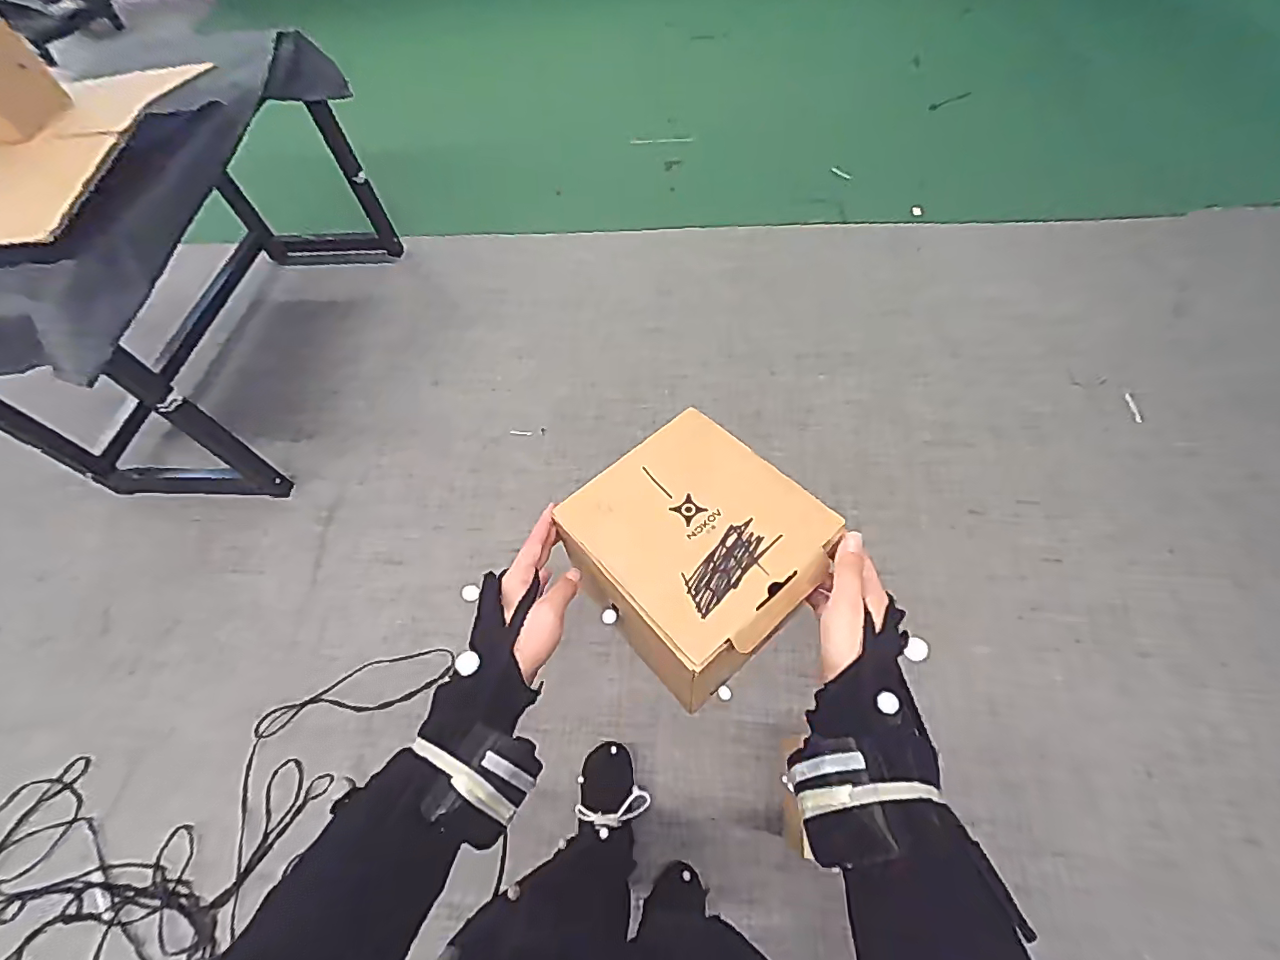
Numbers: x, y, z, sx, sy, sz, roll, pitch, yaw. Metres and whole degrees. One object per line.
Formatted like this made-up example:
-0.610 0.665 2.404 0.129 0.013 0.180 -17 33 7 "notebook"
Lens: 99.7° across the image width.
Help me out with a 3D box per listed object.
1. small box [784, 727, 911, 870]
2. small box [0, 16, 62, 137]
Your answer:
0.340 0.533 0.915 0.168 0.176 0.179 4 60 8 "small box"
-1.345 -0.815 1.085 0.168 0.176 0.179 -3 59 7 "small box"
